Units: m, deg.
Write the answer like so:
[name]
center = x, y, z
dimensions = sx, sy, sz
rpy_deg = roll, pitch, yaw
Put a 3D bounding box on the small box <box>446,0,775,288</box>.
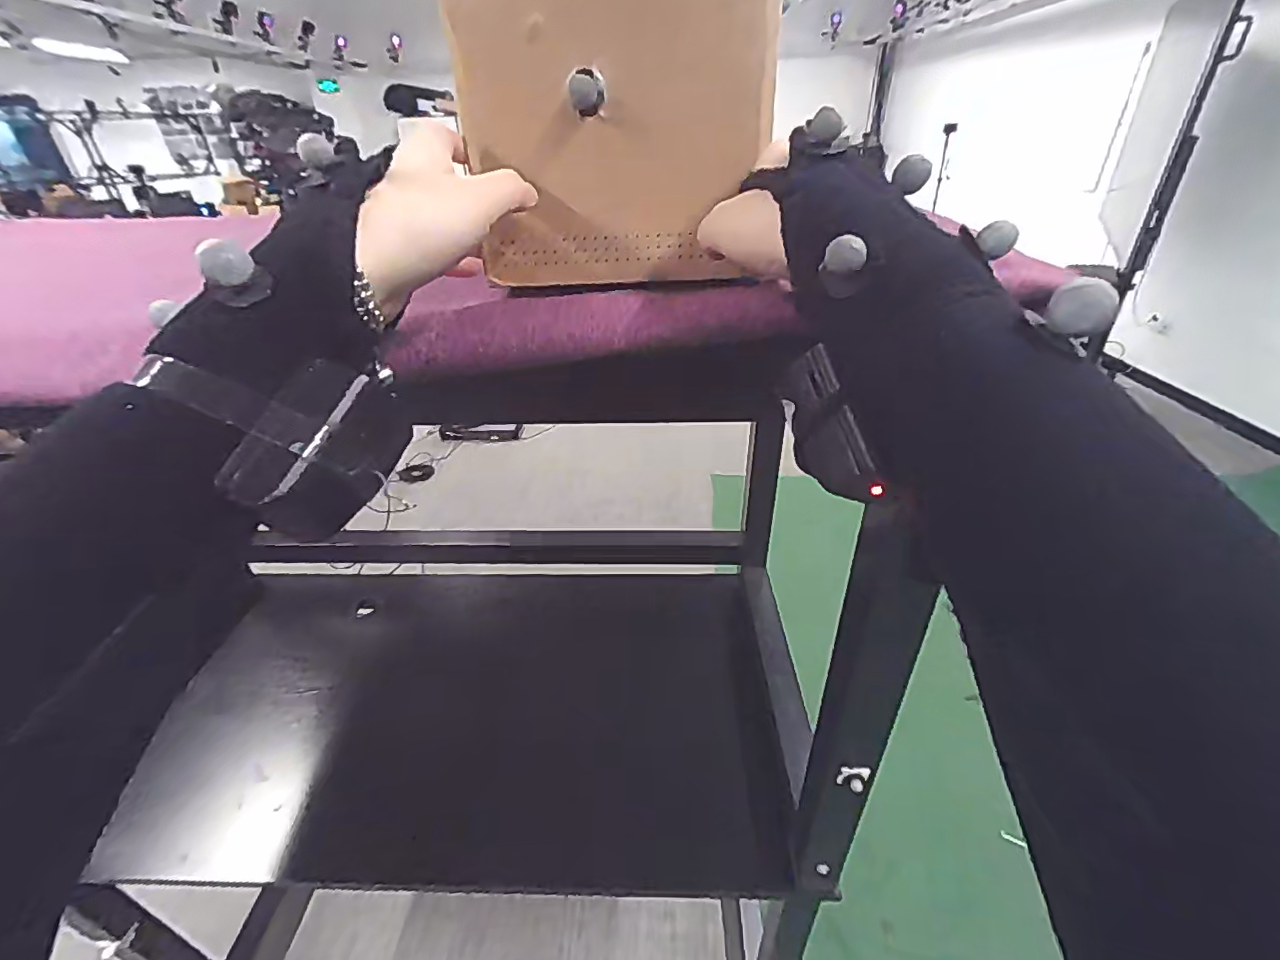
[small box]
center = -0.008, -0.230, 0.365
dimensions = 0.179, 0.176, 0.168
rpy_deg = -1, 29, 4
